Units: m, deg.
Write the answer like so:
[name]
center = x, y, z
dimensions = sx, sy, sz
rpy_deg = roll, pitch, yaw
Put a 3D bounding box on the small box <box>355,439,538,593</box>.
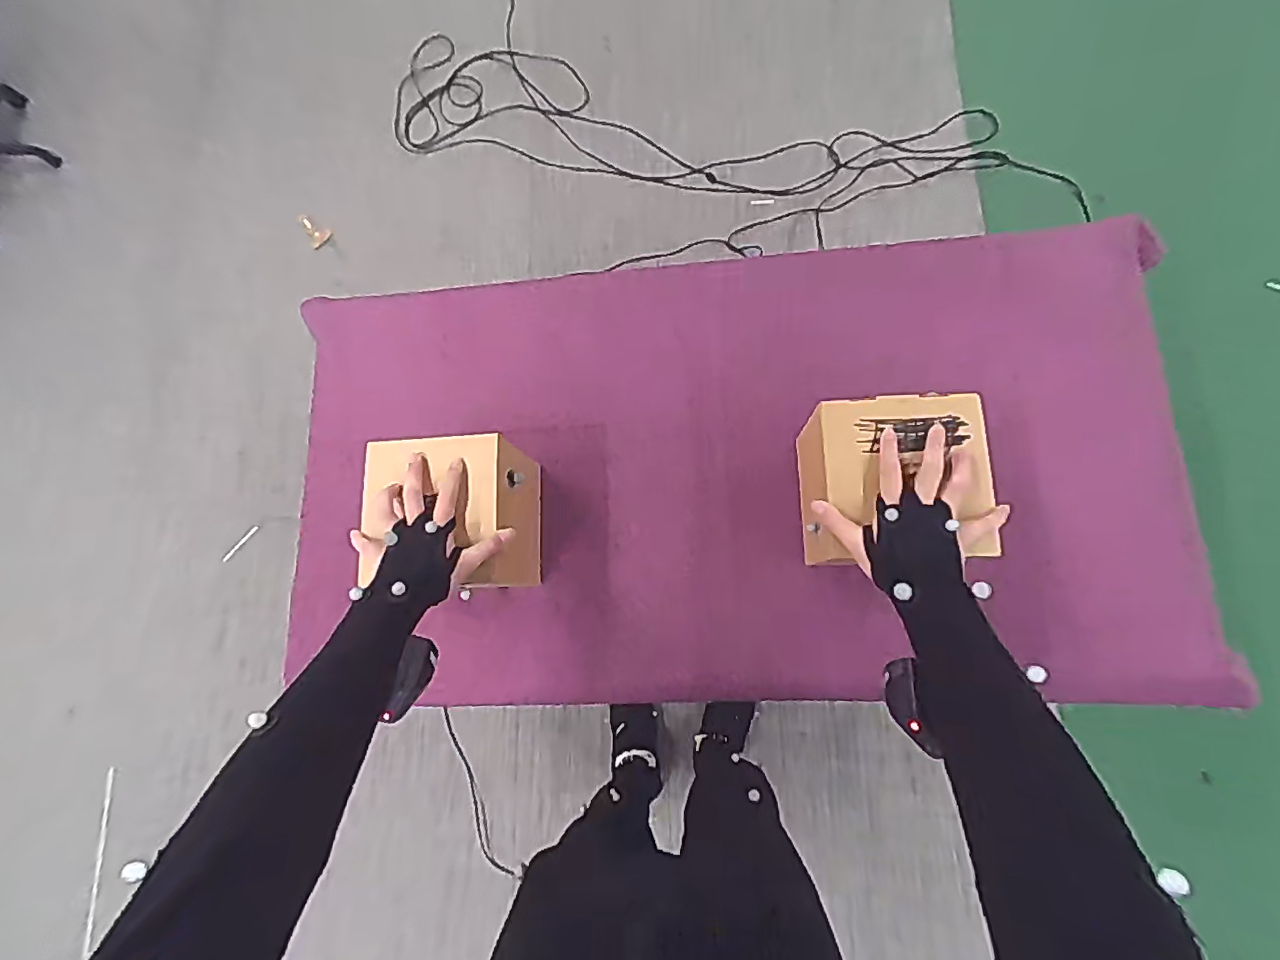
[small box]
center = -0.238, 0.056, 0.707
dimensions = 0.168, 0.176, 0.179
rpy_deg = -3, 78, 7
